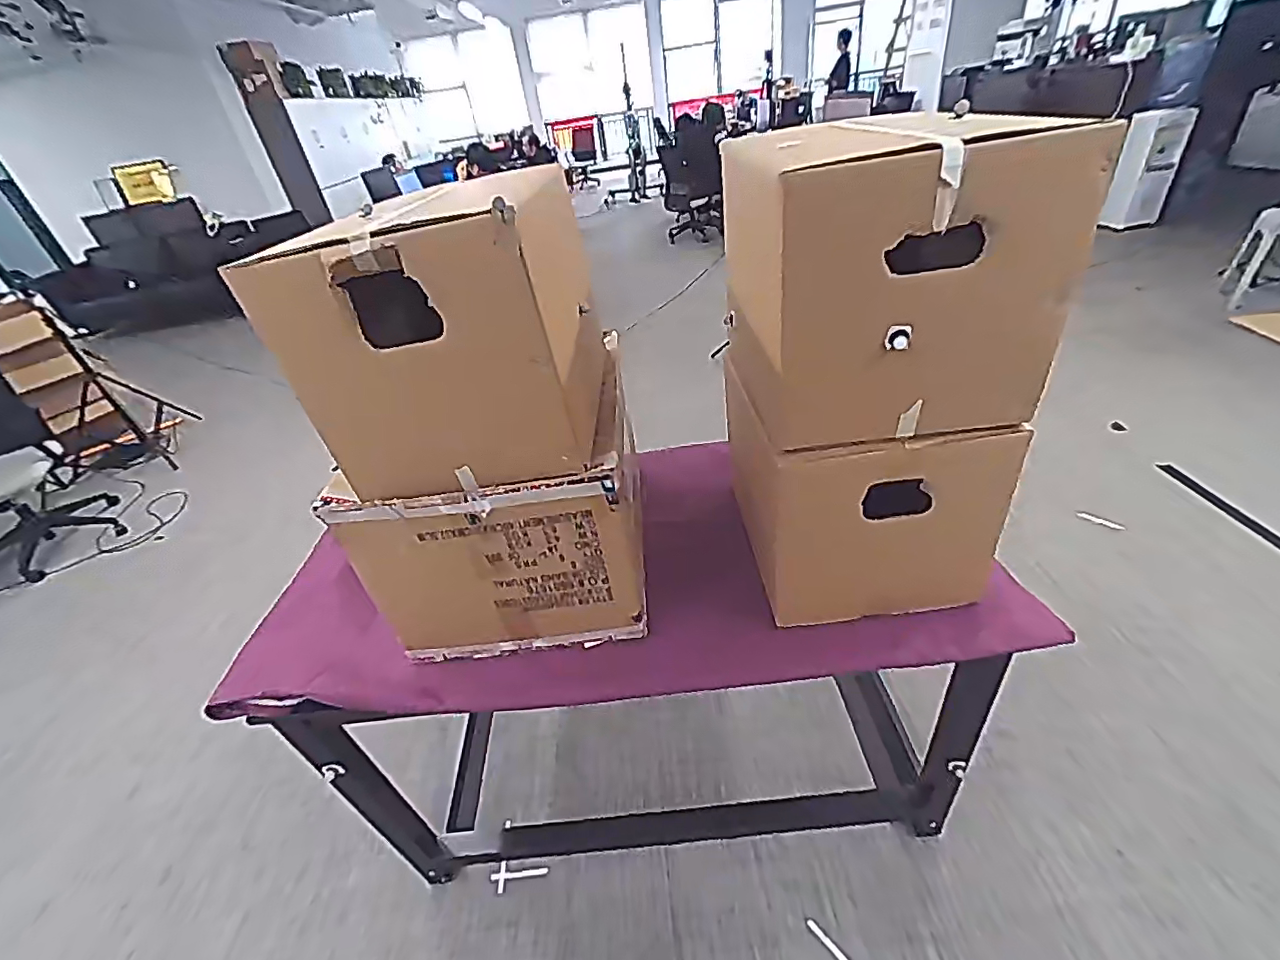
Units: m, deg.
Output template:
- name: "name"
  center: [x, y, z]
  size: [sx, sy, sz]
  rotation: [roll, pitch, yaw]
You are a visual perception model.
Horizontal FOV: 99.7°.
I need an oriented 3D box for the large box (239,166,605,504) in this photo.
- name: "large box"
  center: [-0.233, -0.223, 0.770]
  size: [0.320, 0.320, 0.408]
  rotation: [-10, 35, 6]
